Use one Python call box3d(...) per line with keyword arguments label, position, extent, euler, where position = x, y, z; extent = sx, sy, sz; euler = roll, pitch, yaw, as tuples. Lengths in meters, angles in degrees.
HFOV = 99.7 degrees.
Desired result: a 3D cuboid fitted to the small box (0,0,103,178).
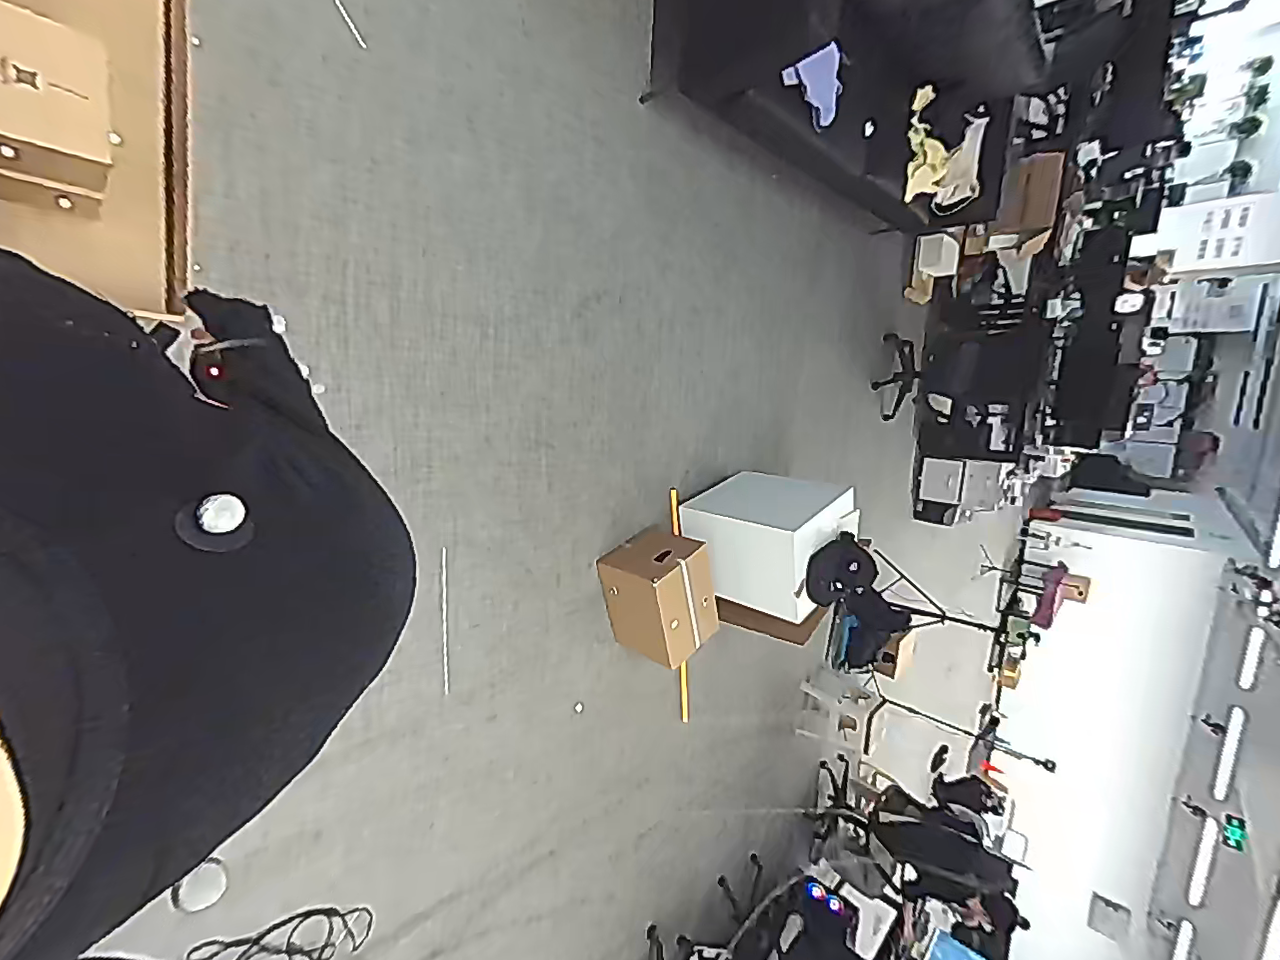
box3d(label="small box", position=(-0.873, -0.545, 0.746), extent=(0.179, 0.176, 0.168), euler=(-4, 100, -48))
